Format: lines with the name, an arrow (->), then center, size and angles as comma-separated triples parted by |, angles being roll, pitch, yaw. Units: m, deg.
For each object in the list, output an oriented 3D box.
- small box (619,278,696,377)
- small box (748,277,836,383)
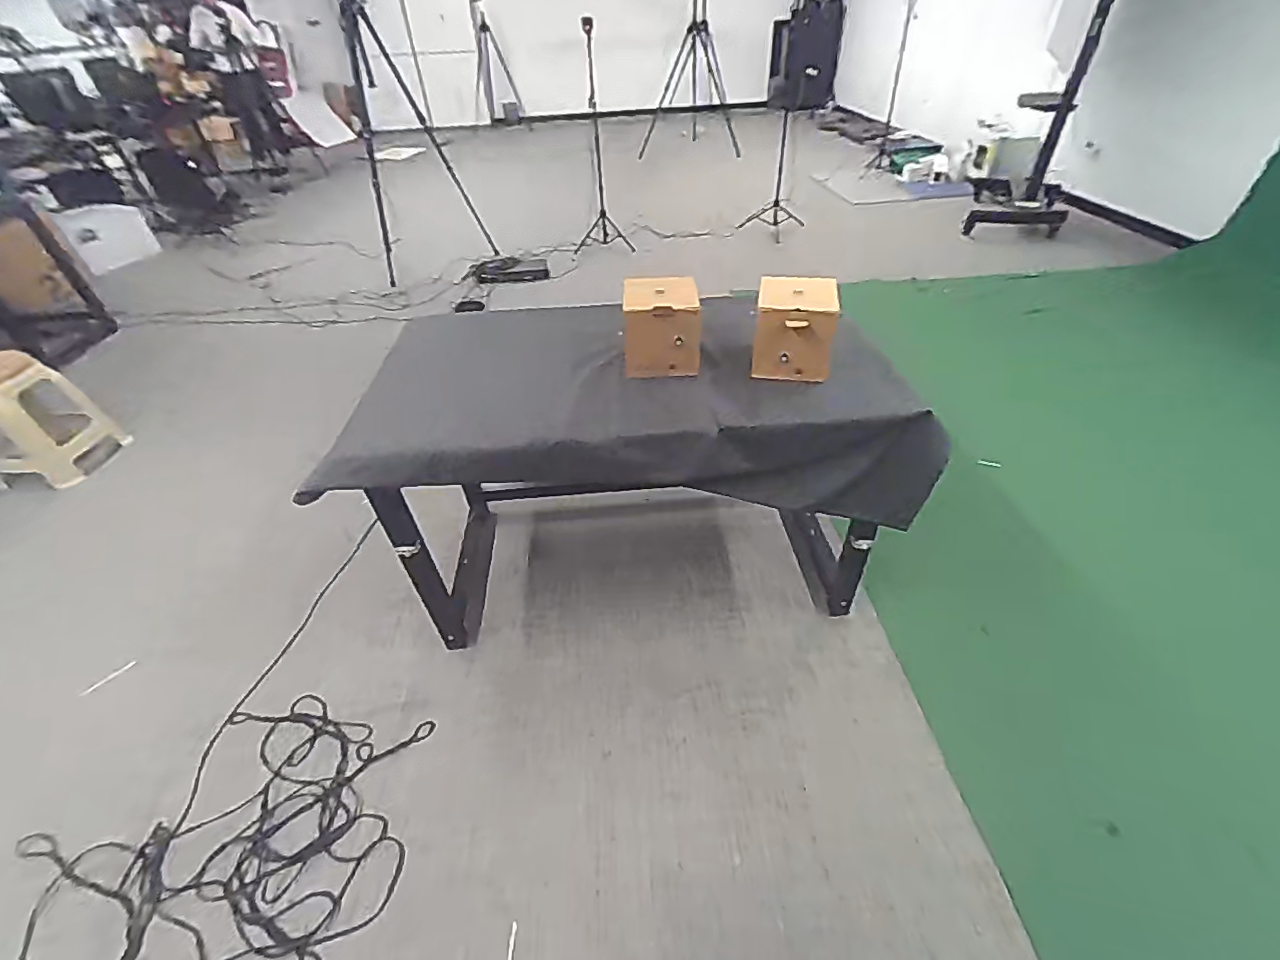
small box -> 0.040, -0.349, 1.246 | 0.168, 0.176, 0.179 | -2, 40, 0
small box -> 0.336, -0.339, 1.215 | 0.168, 0.176, 0.179 | 6, 43, 10
